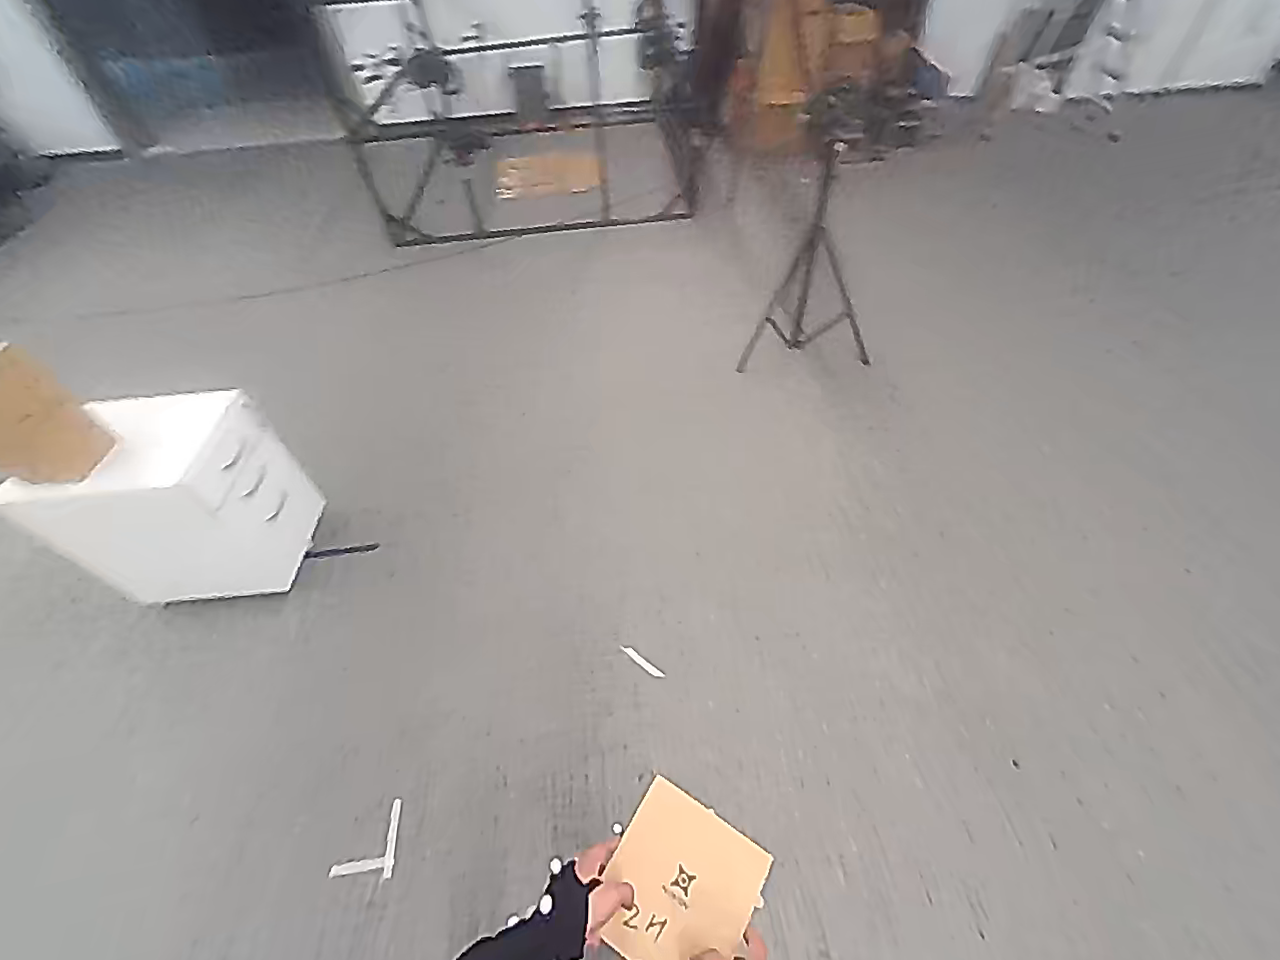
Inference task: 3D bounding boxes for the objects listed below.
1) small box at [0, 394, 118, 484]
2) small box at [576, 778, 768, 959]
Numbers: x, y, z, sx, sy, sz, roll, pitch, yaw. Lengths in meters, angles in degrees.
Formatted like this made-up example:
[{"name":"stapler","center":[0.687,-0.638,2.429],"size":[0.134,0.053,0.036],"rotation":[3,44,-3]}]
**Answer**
[{"name":"small box","center":[-1.573,-0.108,1.450],"size":[0.168,0.176,0.179],"rotation":[-4,48,1]},{"name":"small box","center":[0.034,0.517,0.683],"size":[0.168,0.176,0.179],"rotation":[29,58,16]}]
